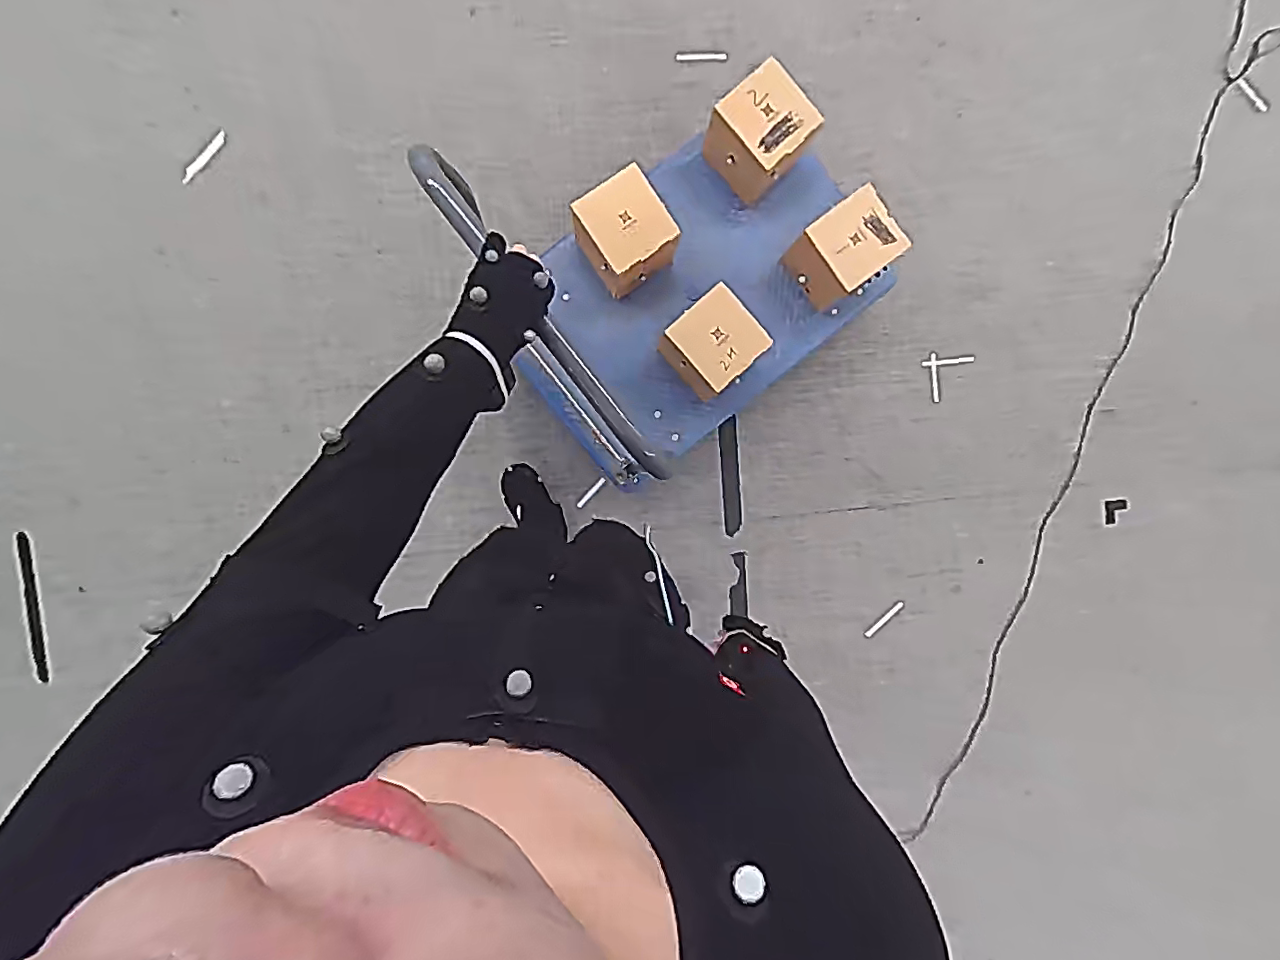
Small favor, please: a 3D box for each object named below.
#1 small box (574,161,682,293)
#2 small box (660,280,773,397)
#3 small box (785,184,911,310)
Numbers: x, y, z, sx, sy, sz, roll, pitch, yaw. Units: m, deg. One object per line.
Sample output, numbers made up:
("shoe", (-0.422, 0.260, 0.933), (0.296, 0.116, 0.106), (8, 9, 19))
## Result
("small box", (-0.031, -0.547, 1.197), (0.168, 0.176, 0.179), (-35, 95, -2))
("small box", (0.162, -0.306, 1.217), (0.168, 0.176, 0.179), (-41, 94, -1))
("small box", (0.462, -0.519, 1.229), (0.179, 0.176, 0.168), (-36, 94, -1))
